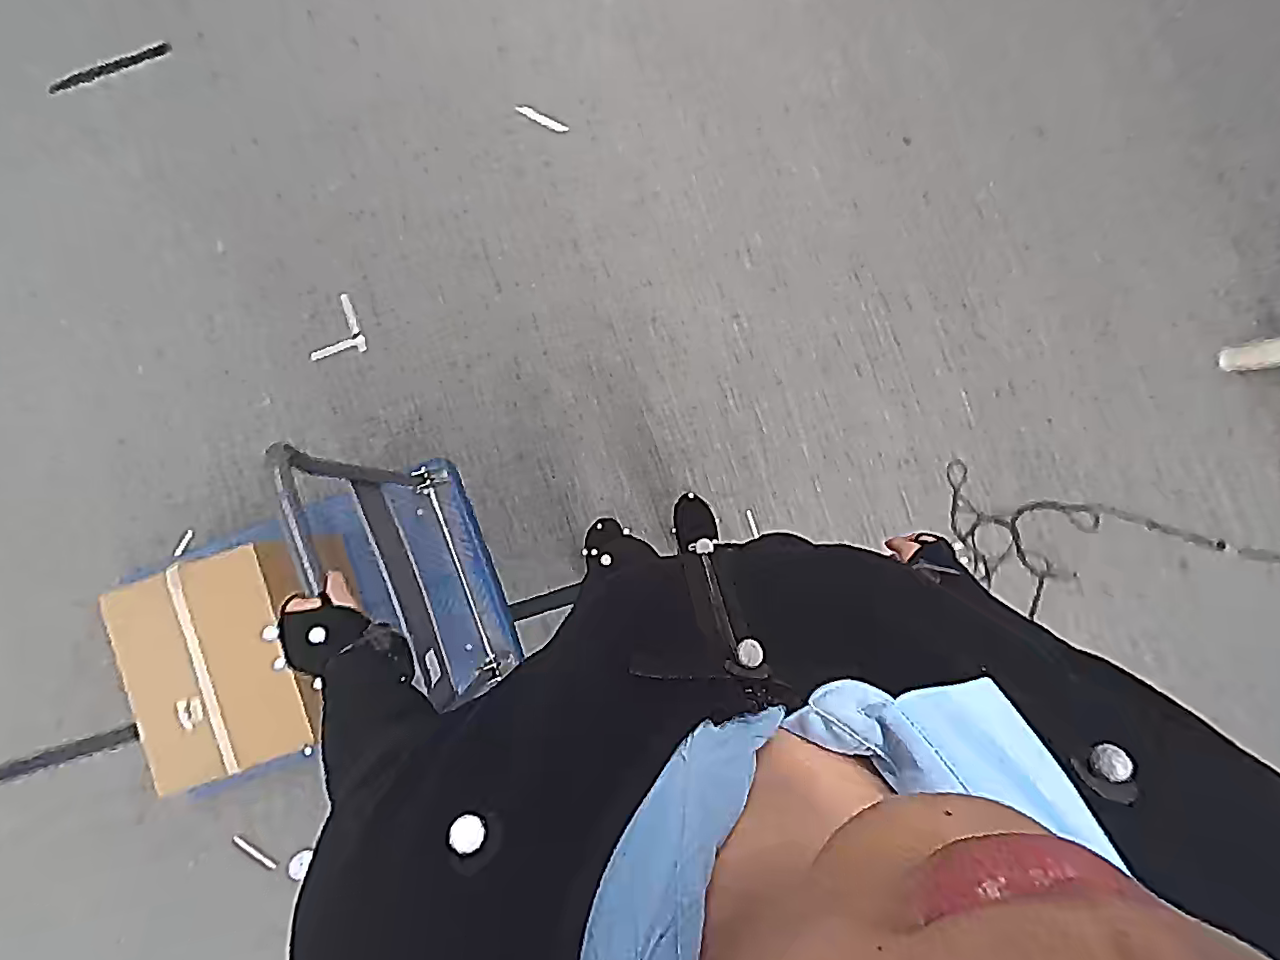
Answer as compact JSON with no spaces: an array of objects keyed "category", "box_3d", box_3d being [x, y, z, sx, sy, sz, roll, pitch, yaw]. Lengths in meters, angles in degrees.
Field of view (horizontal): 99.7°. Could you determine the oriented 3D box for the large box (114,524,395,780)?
[{"category":"large box","box_3d":[-0.803,0.339,1.182,0.320,0.320,0.408,-19,89,0]}]
